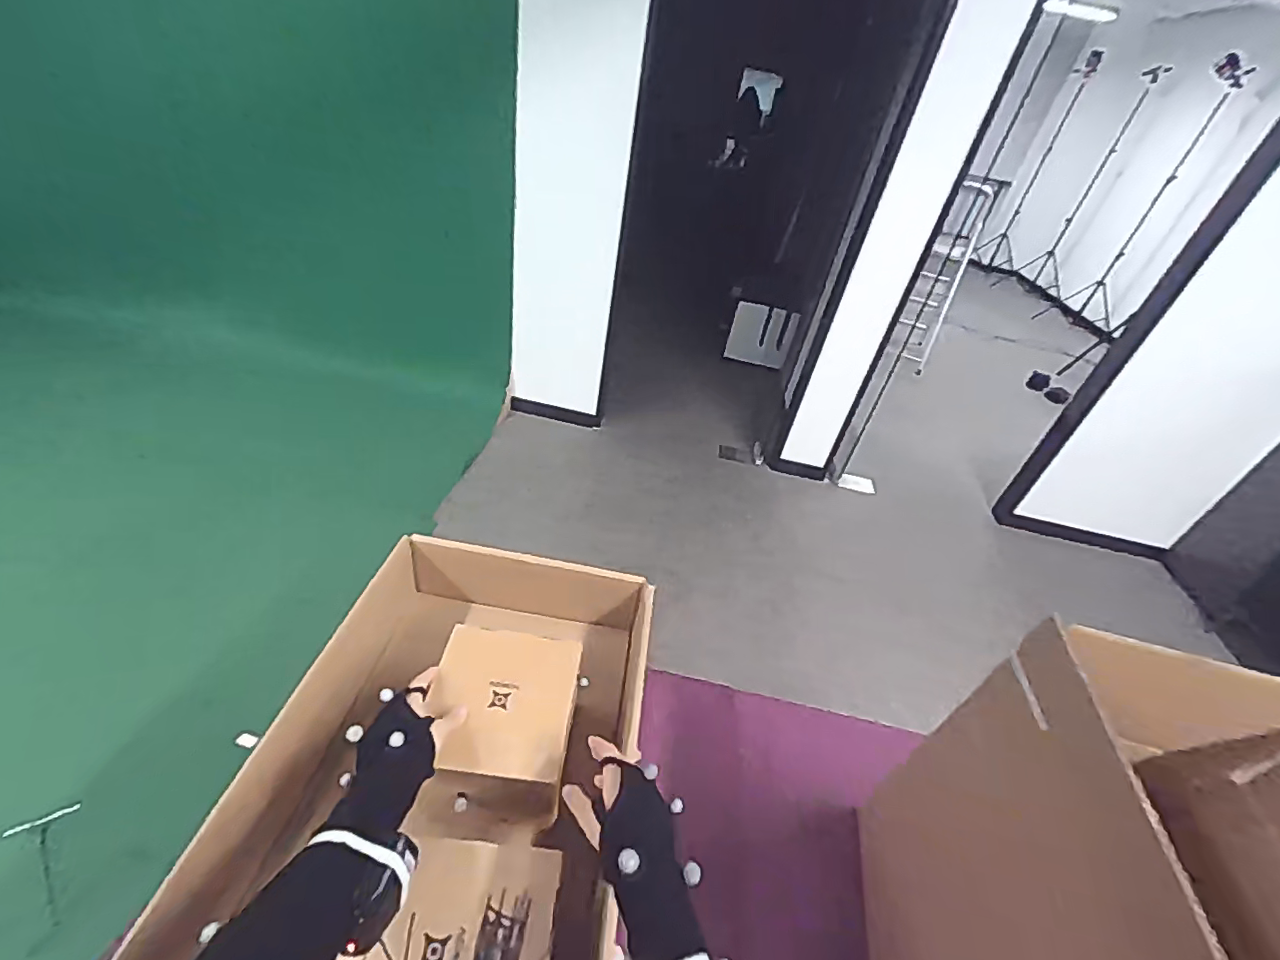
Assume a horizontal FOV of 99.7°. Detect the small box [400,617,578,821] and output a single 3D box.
[{"bbox_3d":[-0.176,0.304,0.684,0.168,0.176,0.179,8,39,-2],"label":"small box"}]
